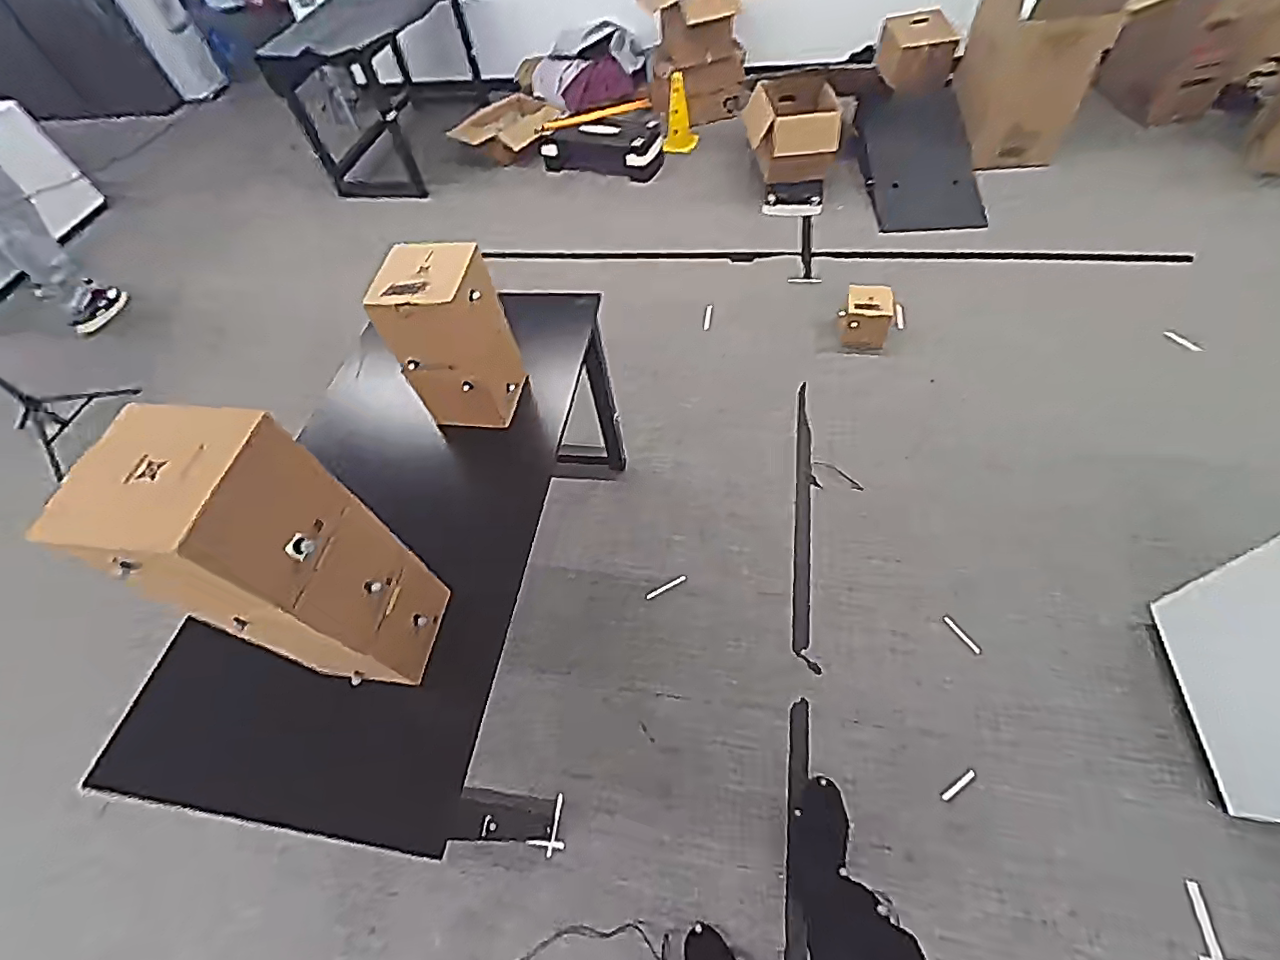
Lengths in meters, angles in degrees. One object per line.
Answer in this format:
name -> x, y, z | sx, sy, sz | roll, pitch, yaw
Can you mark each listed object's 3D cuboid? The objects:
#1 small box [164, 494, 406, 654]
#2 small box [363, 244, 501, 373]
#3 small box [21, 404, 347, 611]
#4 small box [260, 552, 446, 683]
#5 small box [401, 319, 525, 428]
small box -> -0.457, 0.126, 0.730 | 0.179, 0.176, 0.168 | 3, 57, 9
small box -> -0.377, -0.318, 1.021 | 0.168, 0.176, 0.179 | 1, 56, 7
small box -> -0.472, 0.035, 0.596 | 0.179, 0.176, 0.168 | 3, 58, 8
small box -> -0.439, 0.218, 0.865 | 0.179, 0.176, 0.168 | 3, 56, 8
small box -> -0.367, -0.227, 1.158 | 0.179, 0.176, 0.168 | 4, 57, 9
